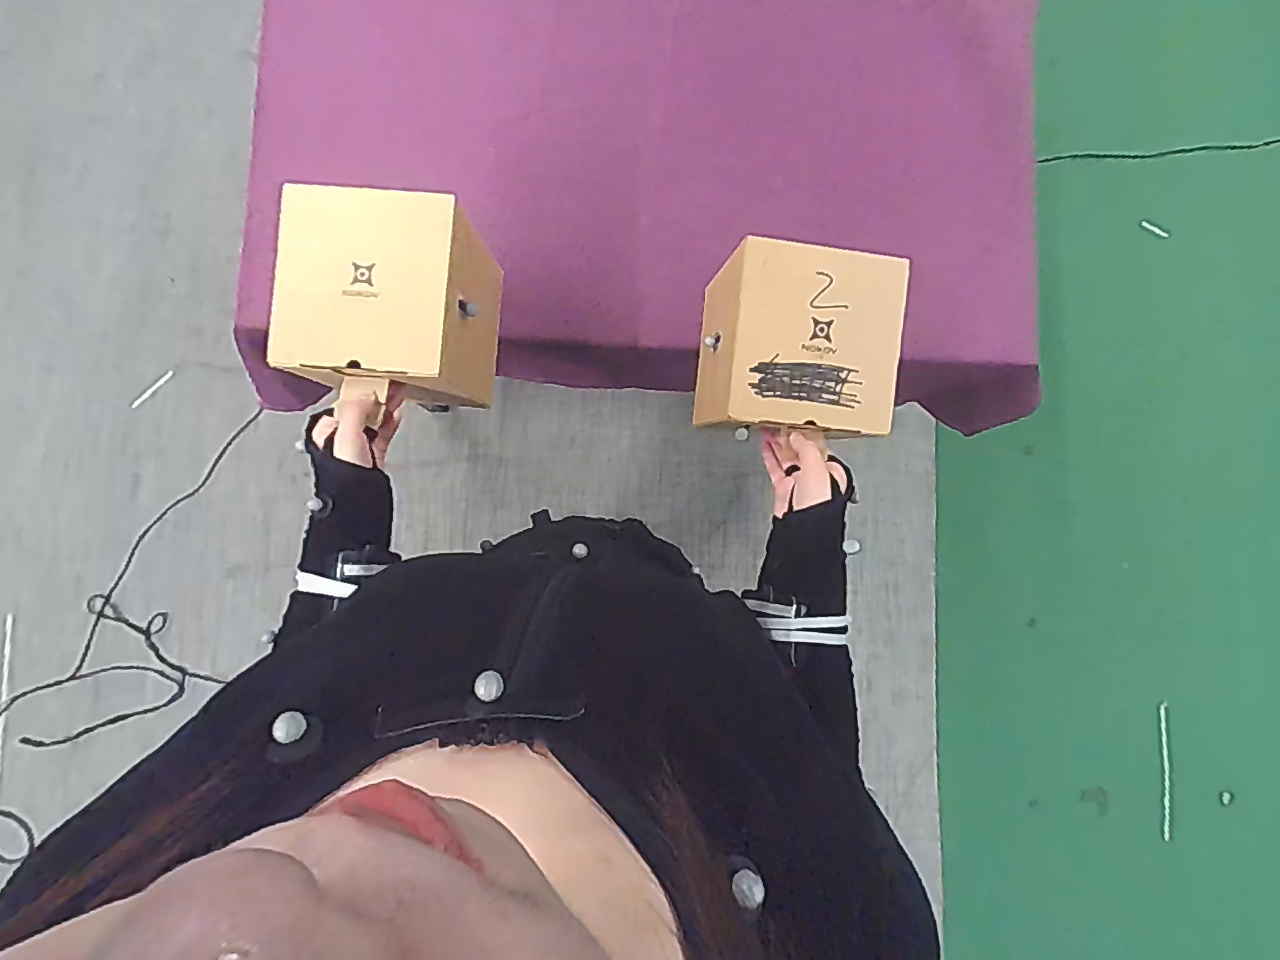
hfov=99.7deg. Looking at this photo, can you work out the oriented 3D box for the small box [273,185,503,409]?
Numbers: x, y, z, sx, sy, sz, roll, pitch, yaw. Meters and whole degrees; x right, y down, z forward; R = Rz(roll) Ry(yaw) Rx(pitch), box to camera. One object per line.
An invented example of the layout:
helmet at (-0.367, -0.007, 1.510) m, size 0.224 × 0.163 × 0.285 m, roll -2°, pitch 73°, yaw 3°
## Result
small box at (-0.254, -0.183, 0.587) m, size 0.168 × 0.176 × 0.179 m, roll 5°, pitch 89°, yaw 0°
